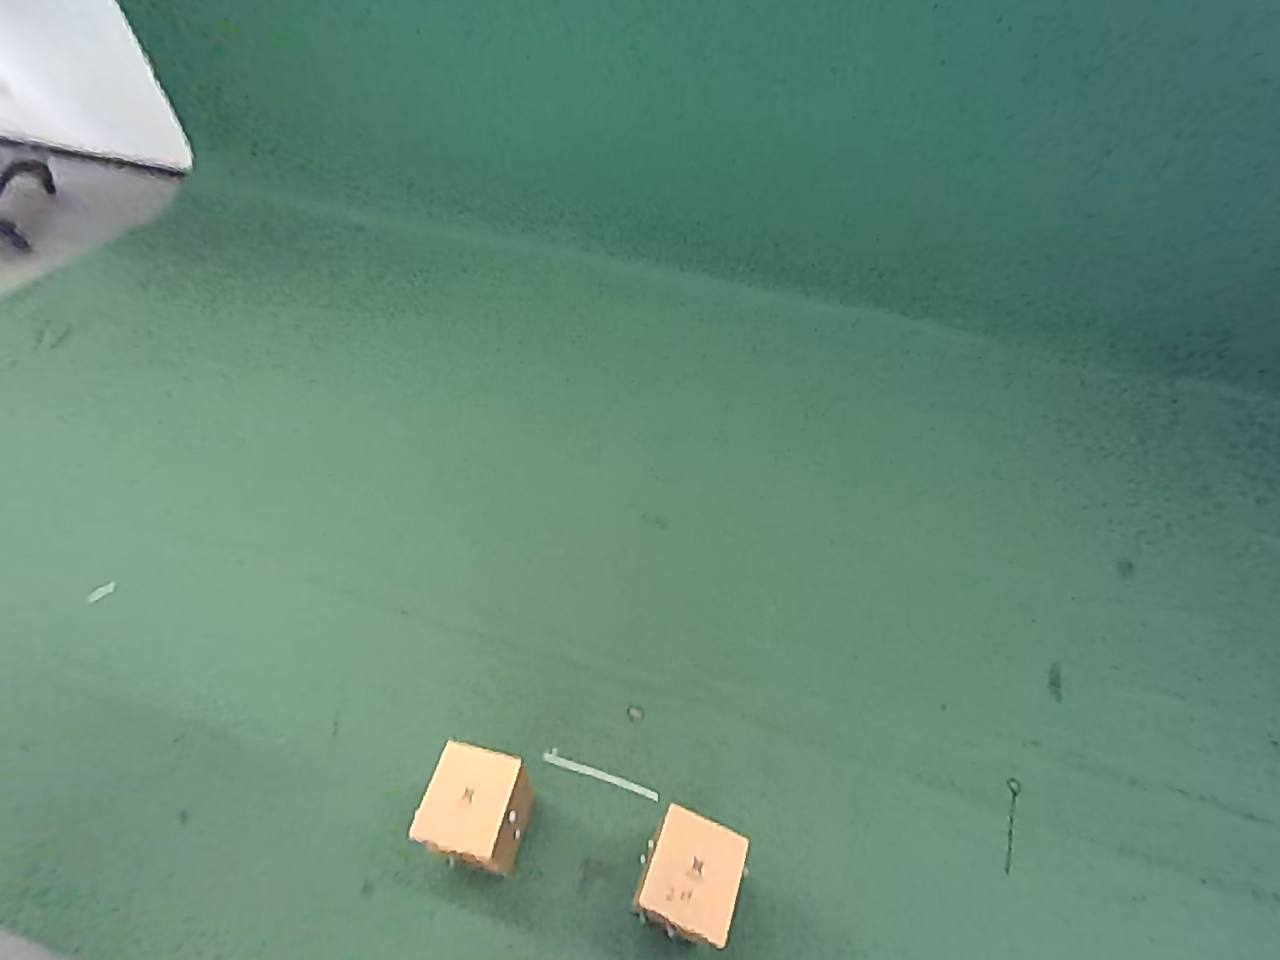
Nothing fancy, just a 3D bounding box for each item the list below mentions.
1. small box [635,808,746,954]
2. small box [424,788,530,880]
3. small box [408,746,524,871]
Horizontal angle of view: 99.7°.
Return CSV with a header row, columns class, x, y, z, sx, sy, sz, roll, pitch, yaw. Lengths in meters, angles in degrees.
class,x,y,z,sx,sy,sz,roll,pitch,yaw
small box,0.094,0.791,1.070,0.168,0.176,0.179,20,52,12
small box,-0.364,0.797,1.249,0.168,0.176,0.179,13,50,7
small box,-0.351,0.688,1.129,0.168,0.176,0.179,12,51,6
